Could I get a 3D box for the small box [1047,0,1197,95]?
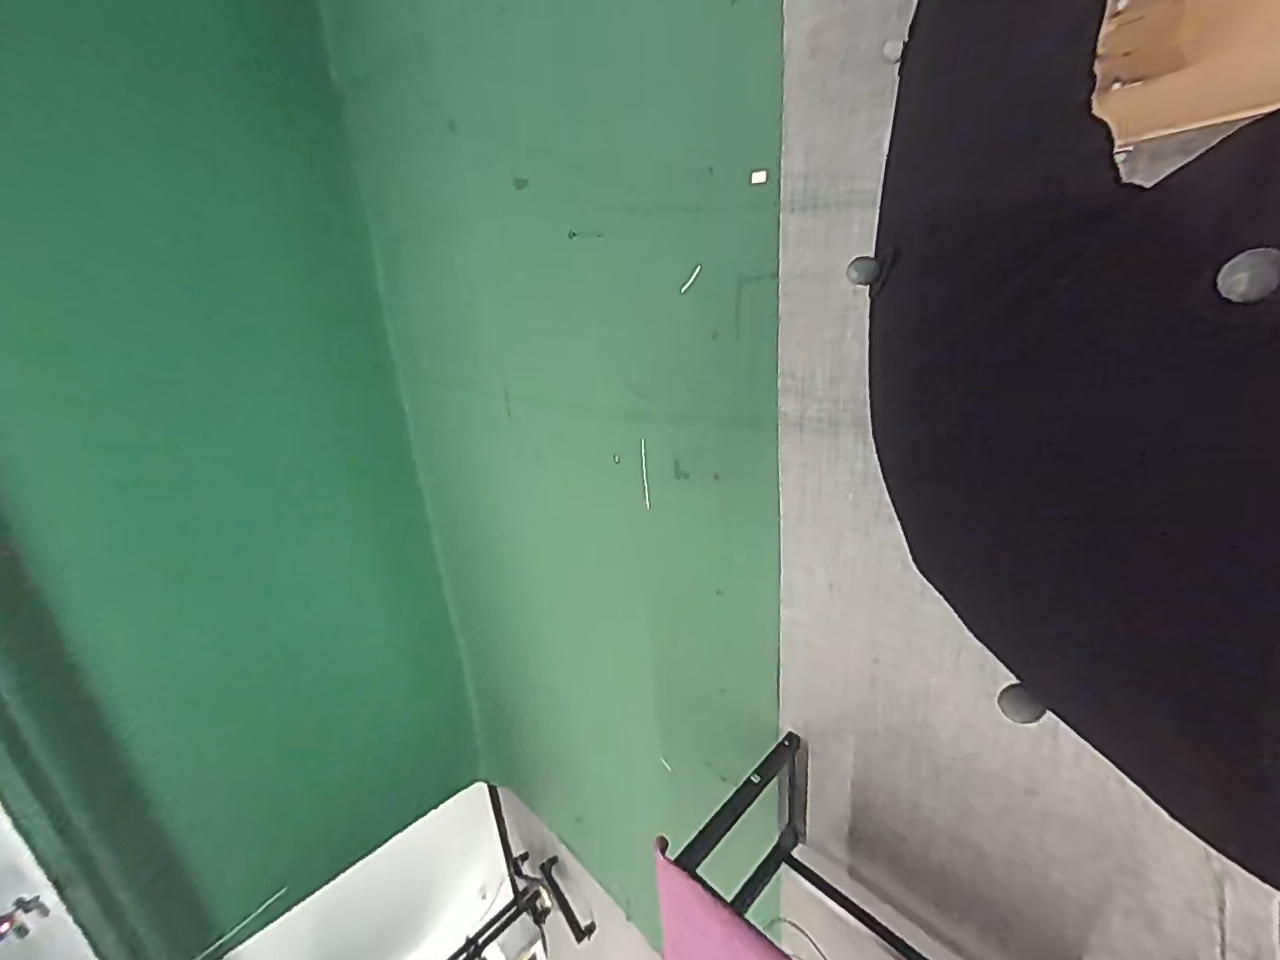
[{"bbox_3d":[0.801,-0.776,0.893,0.168,0.176,0.179,14,116,44],"label":"small box"}]
